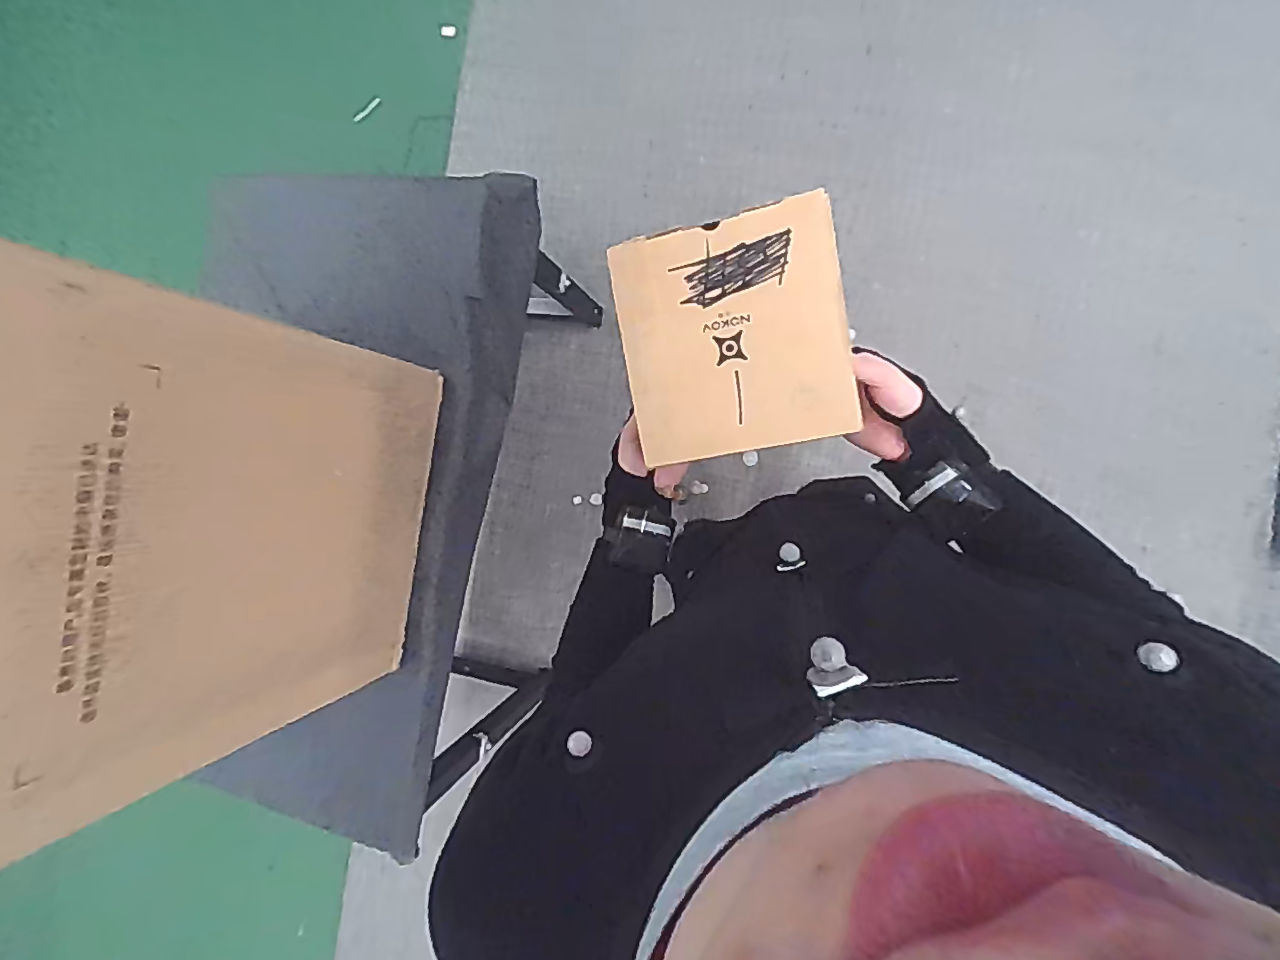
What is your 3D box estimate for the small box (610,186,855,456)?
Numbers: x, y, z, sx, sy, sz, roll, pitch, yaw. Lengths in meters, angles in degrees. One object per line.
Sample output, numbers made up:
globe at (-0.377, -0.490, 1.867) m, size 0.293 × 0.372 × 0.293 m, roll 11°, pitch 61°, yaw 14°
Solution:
small box at (0.083, -0.120, 0.480) m, size 0.168 × 0.176 × 0.179 m, roll -8°, pitch 94°, yaw 14°
